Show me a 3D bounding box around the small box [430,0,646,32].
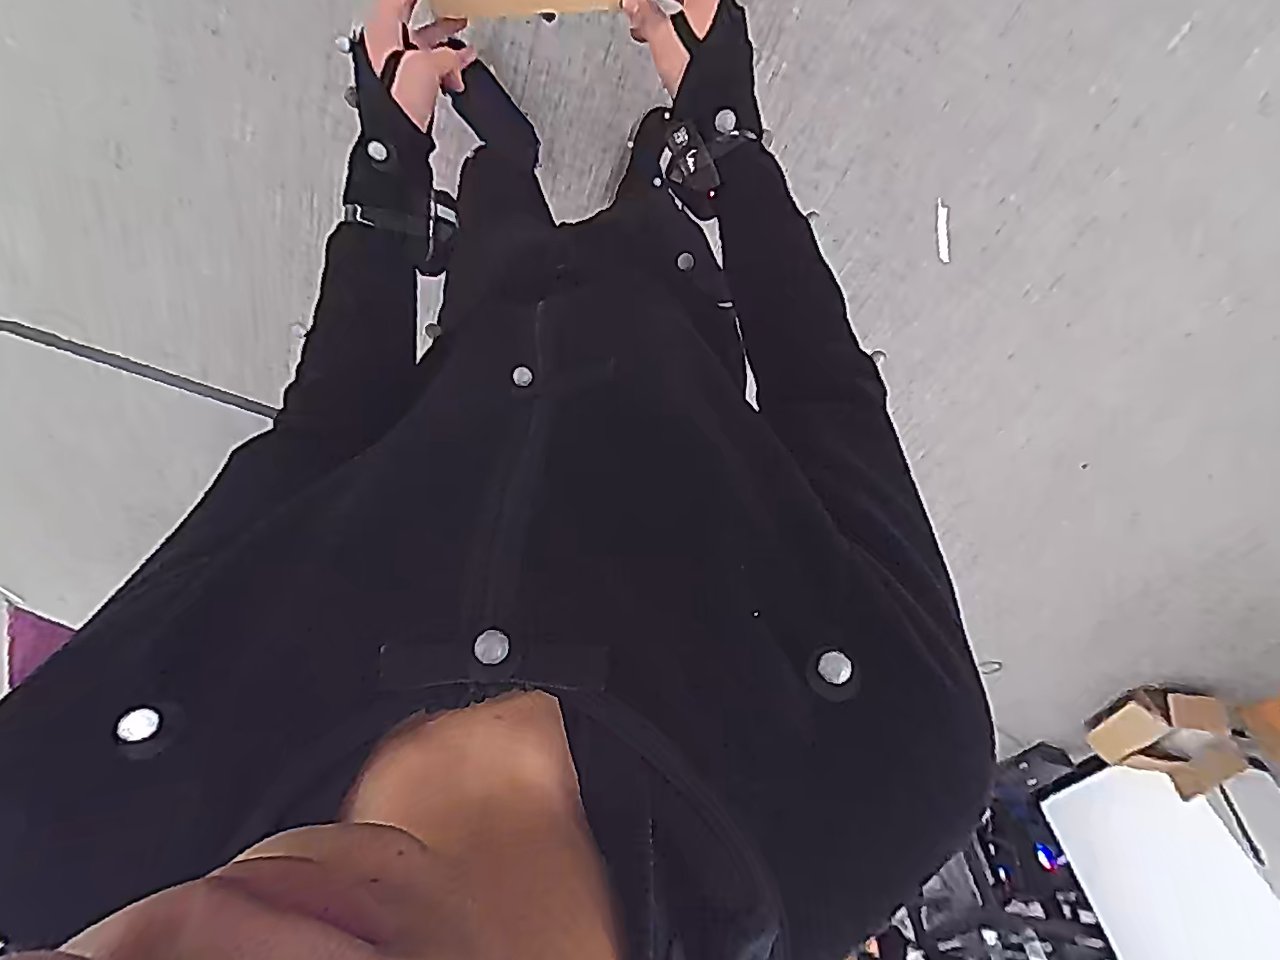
[{"bbox_3d":[-0.091,-0.490,0.445,0.179,0.176,0.168,-4,137,-2],"label":"small box"}]
